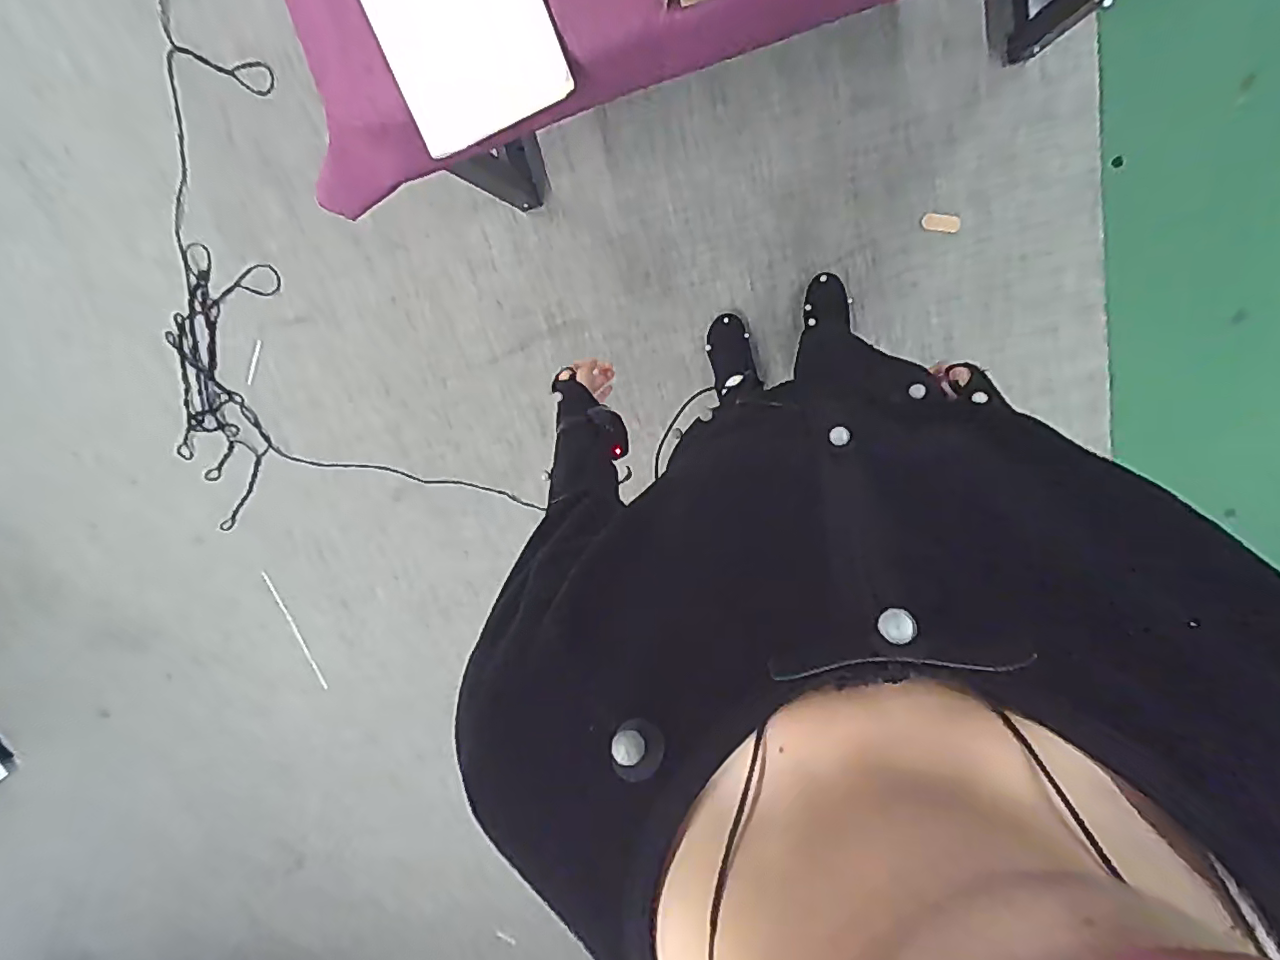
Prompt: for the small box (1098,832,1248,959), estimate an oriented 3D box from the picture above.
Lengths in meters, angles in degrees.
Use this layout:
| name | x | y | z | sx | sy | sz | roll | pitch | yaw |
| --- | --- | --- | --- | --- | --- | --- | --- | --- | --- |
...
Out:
| name | x | y | z | sx | sy | sz | roll | pitch | yaw |
| --- | --- | --- | --- | --- | --- | --- | --- | --- | --- |
| small box | 1.255 | 0.979 | 1.283 | 0.179 | 0.176 | 0.168 | -24 | 101 | 14 |
